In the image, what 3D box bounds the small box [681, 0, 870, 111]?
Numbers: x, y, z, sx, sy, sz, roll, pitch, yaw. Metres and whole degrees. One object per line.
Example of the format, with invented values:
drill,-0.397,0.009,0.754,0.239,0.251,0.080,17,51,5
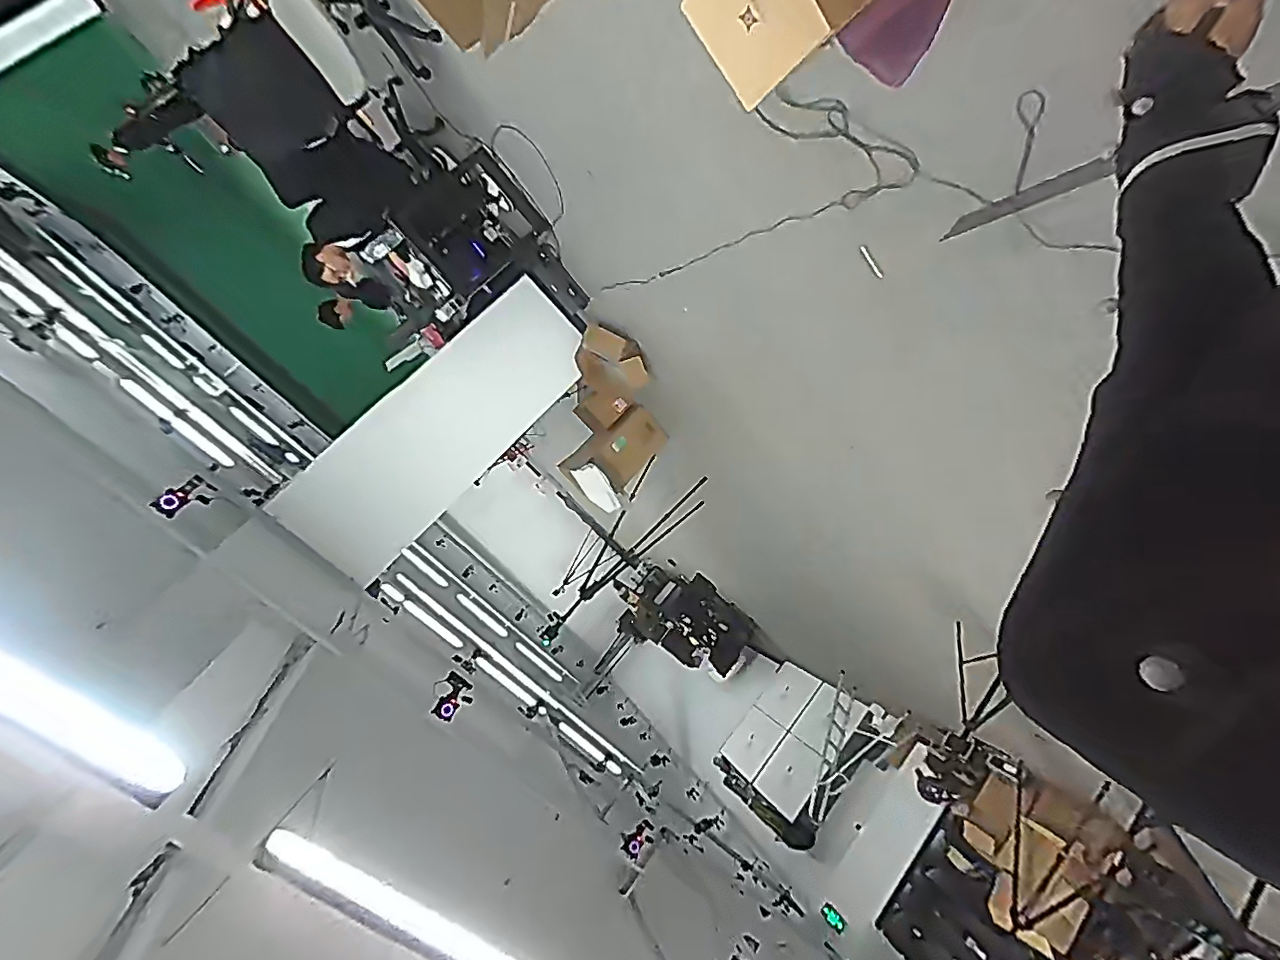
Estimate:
small box,0.193,-0.648,0.710,0.168,0.176,0.179,47,165,-18
